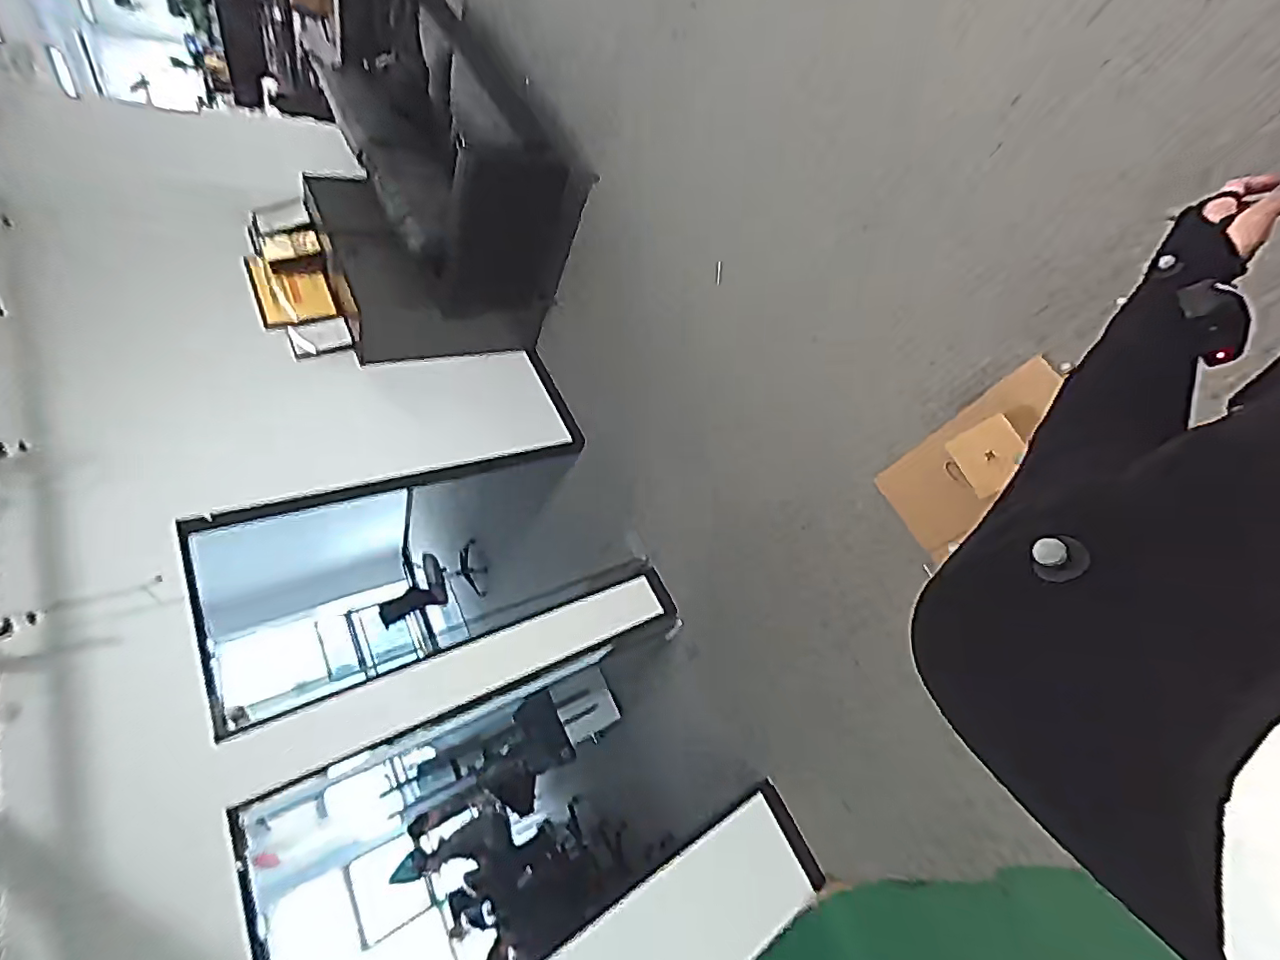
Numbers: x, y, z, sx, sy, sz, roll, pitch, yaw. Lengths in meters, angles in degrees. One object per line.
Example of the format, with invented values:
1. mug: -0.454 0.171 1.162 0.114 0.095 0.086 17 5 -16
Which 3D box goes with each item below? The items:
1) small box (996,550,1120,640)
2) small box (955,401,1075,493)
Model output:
1. small box: 1.093 0.307 1.411 0.179 0.176 0.168 64 145 18
2. small box: 0.983 -0.092 1.419 0.179 0.176 0.168 63 146 16
